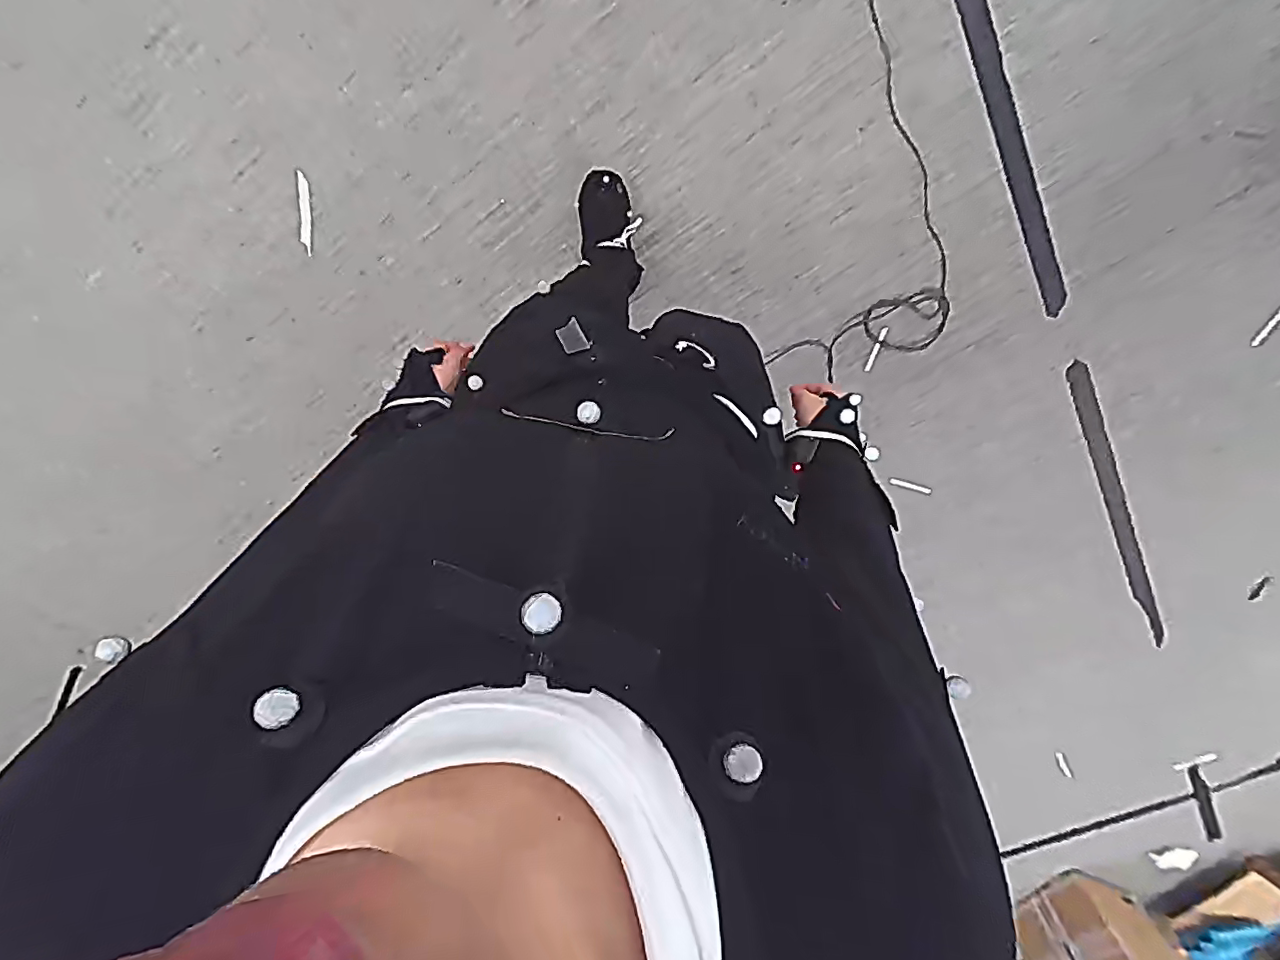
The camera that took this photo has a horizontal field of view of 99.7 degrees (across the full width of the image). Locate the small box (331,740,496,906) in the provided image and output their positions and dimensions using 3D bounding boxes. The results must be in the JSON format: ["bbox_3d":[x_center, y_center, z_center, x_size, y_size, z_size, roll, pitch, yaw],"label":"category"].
[{"bbox_3d":[-0.383,0.588,0.947,0.168,0.176,0.179,-32,113,14],"label":"small box"}]
